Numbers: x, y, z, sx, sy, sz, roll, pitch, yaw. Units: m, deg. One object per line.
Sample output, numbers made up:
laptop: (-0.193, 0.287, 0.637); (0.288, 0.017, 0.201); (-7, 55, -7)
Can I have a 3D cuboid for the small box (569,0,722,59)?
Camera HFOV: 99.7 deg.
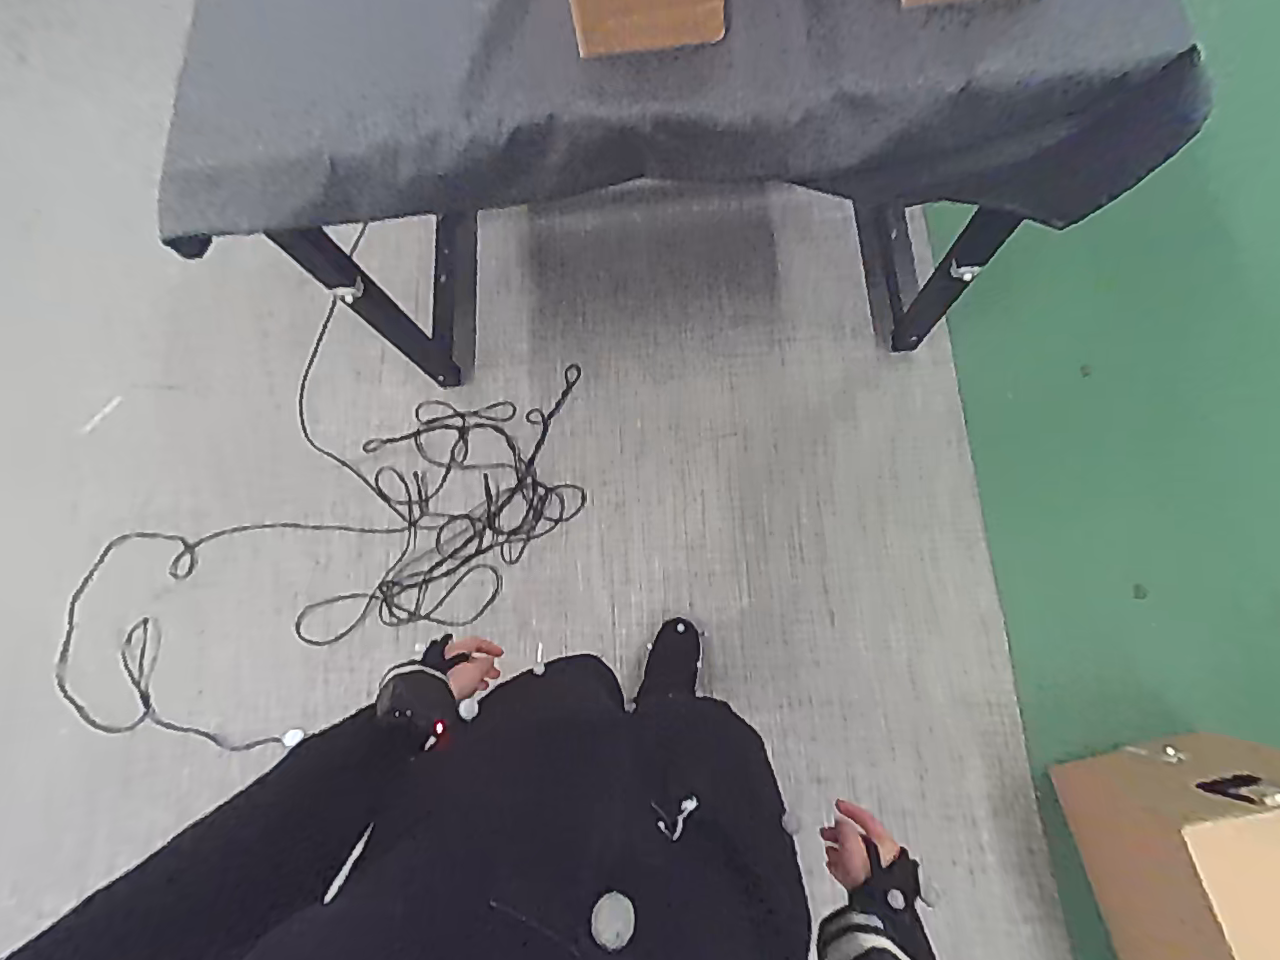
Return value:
small box: (0.002, -0.612, 0.600); (0.179, 0.176, 0.168); (-3, 75, 4)
